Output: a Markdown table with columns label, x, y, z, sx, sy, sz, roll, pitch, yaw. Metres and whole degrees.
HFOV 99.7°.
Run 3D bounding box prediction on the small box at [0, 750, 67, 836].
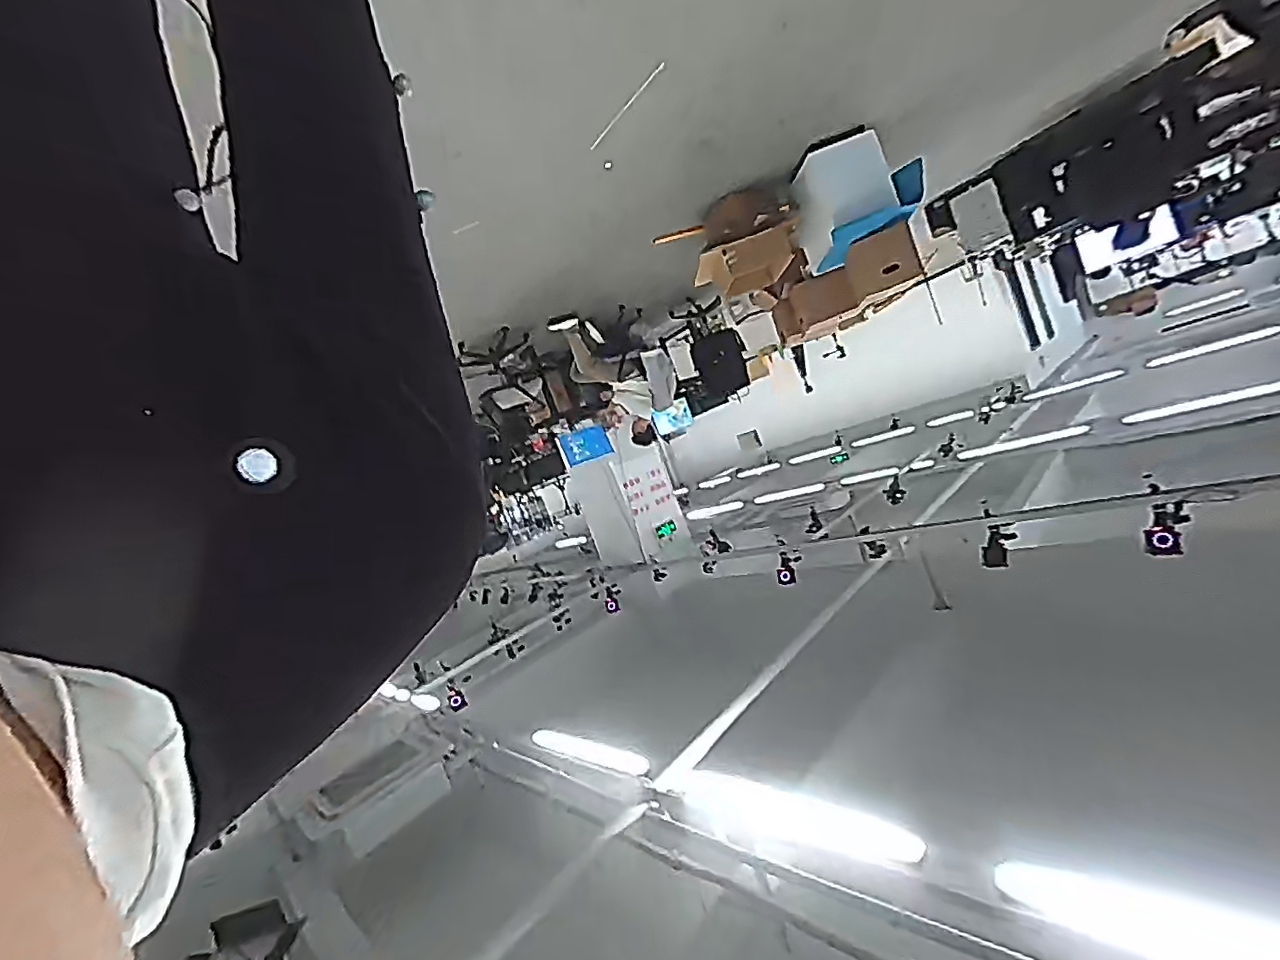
| label | x | y | z | sx | sy | sz | roll | pitch | yaw |
| --- | --- | --- | --- | --- | --- | --- | --- | --- | --- |
| small box | -1.816 | 0.904 | 1.562 | 0.168 | 0.176 | 0.179 | -20 | -176 | 44 |

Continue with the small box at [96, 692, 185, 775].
| label | x | y | z | sx | sy | sz | roll | pitch | yaw |
| --- | --- | --- | --- | --- | --- | --- | --- | --- | --- |
| small box | -1.625 | 0.816 | 1.758 | 0.179 | 0.176 | 0.168 | -26 | -174 | -42 |
